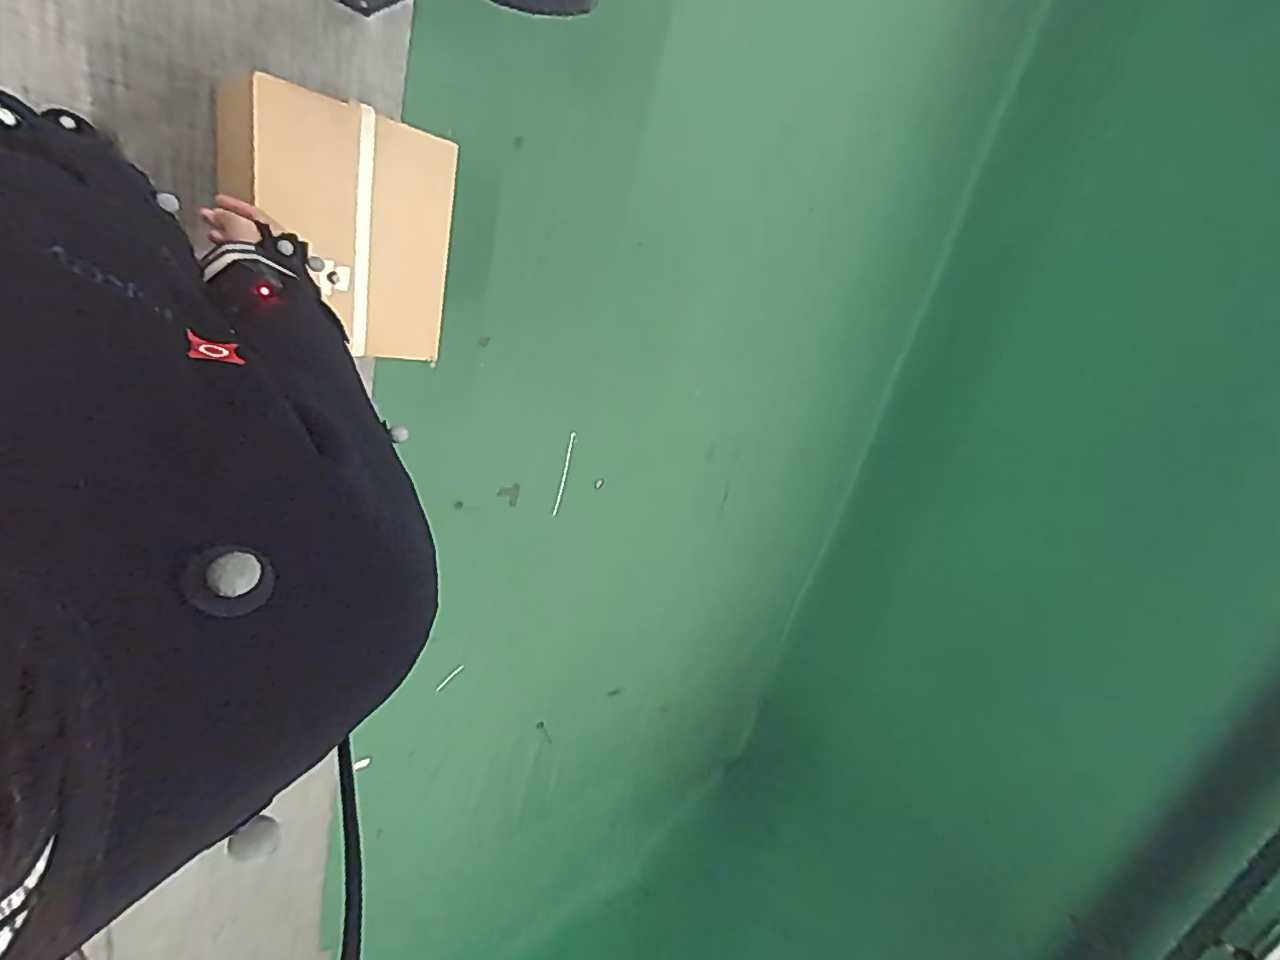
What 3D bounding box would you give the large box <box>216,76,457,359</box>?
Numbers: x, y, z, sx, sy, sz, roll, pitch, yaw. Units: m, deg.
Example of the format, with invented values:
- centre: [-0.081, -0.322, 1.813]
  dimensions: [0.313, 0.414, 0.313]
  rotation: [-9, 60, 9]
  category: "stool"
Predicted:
- centre: [-0.581, -0.475, 1.035]
  dimensions: [0.320, 0.320, 0.408]
  rotation: [-7, 119, -44]
  category: "large box"
